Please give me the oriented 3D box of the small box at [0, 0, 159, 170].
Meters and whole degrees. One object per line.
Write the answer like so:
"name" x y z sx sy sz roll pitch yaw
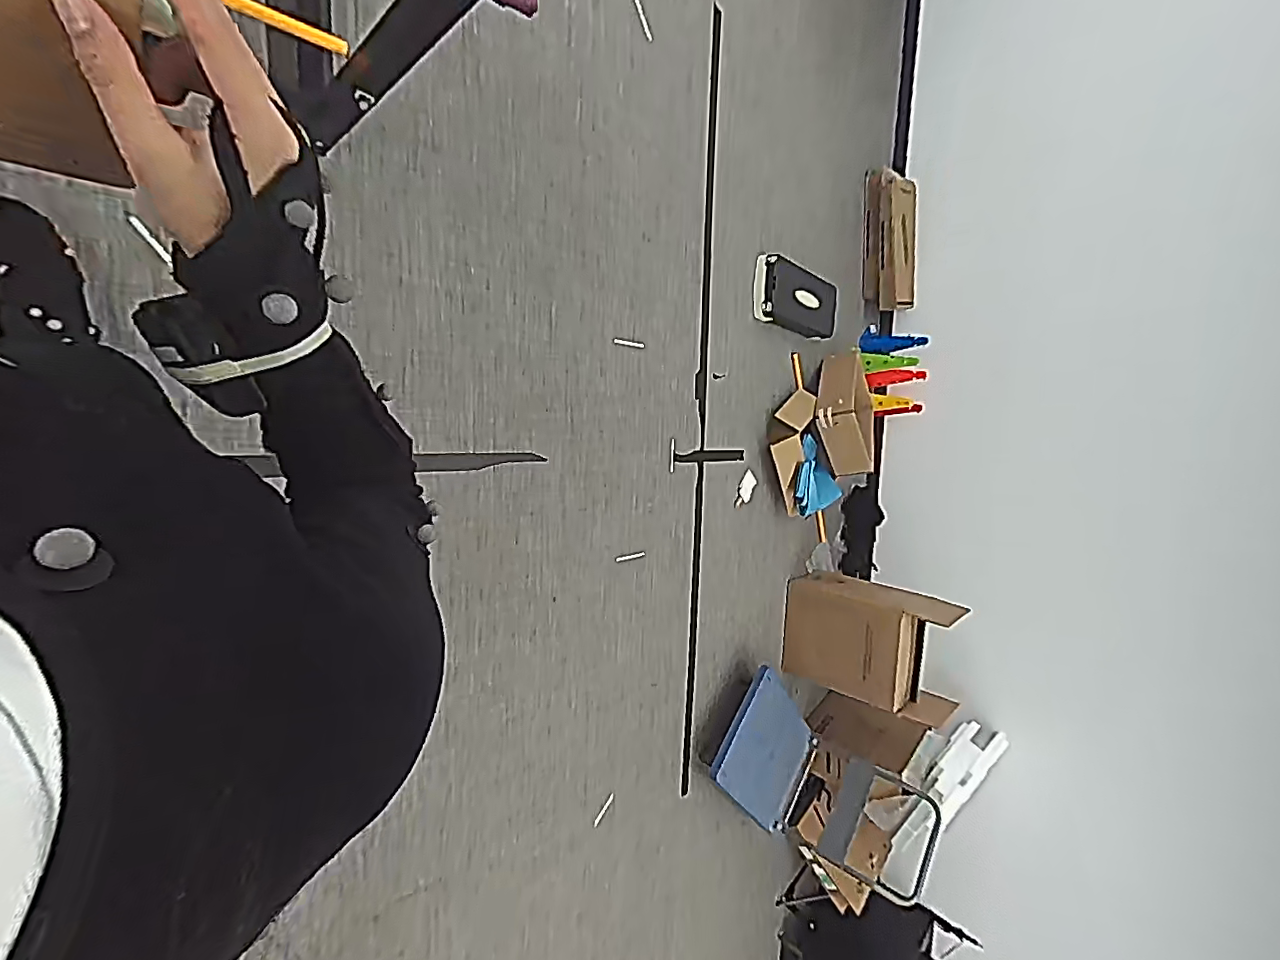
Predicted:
"small box" -0.290 -0.252 0.190 0.179 0.176 0.168 -4 77 -45
